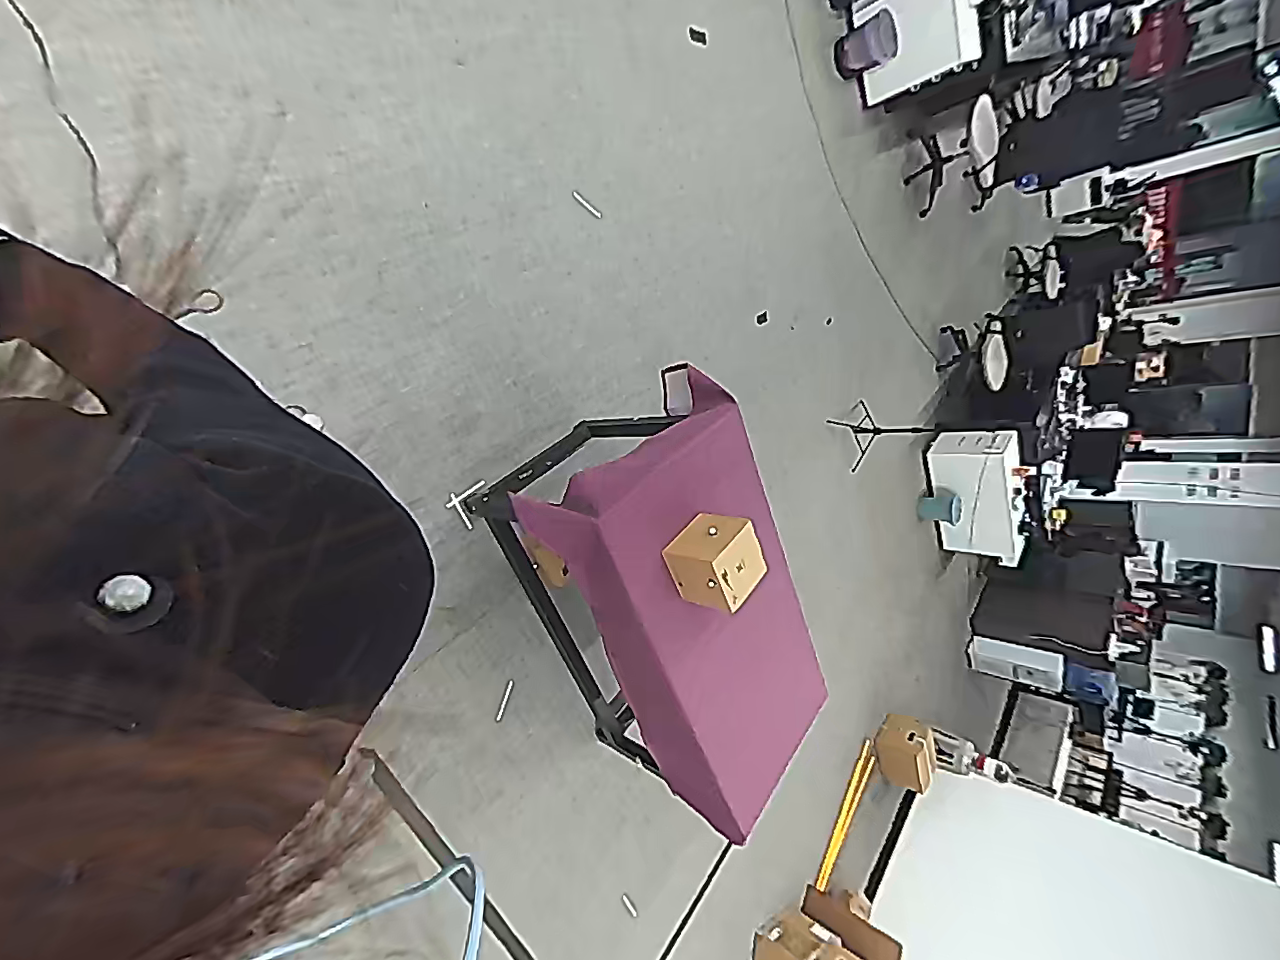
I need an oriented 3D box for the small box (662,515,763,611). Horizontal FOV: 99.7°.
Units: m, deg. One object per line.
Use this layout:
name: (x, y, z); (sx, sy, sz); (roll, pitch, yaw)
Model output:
small box: (0.187, 0.205, 1.396); (0.179, 0.176, 0.168); (-42, 119, -35)
